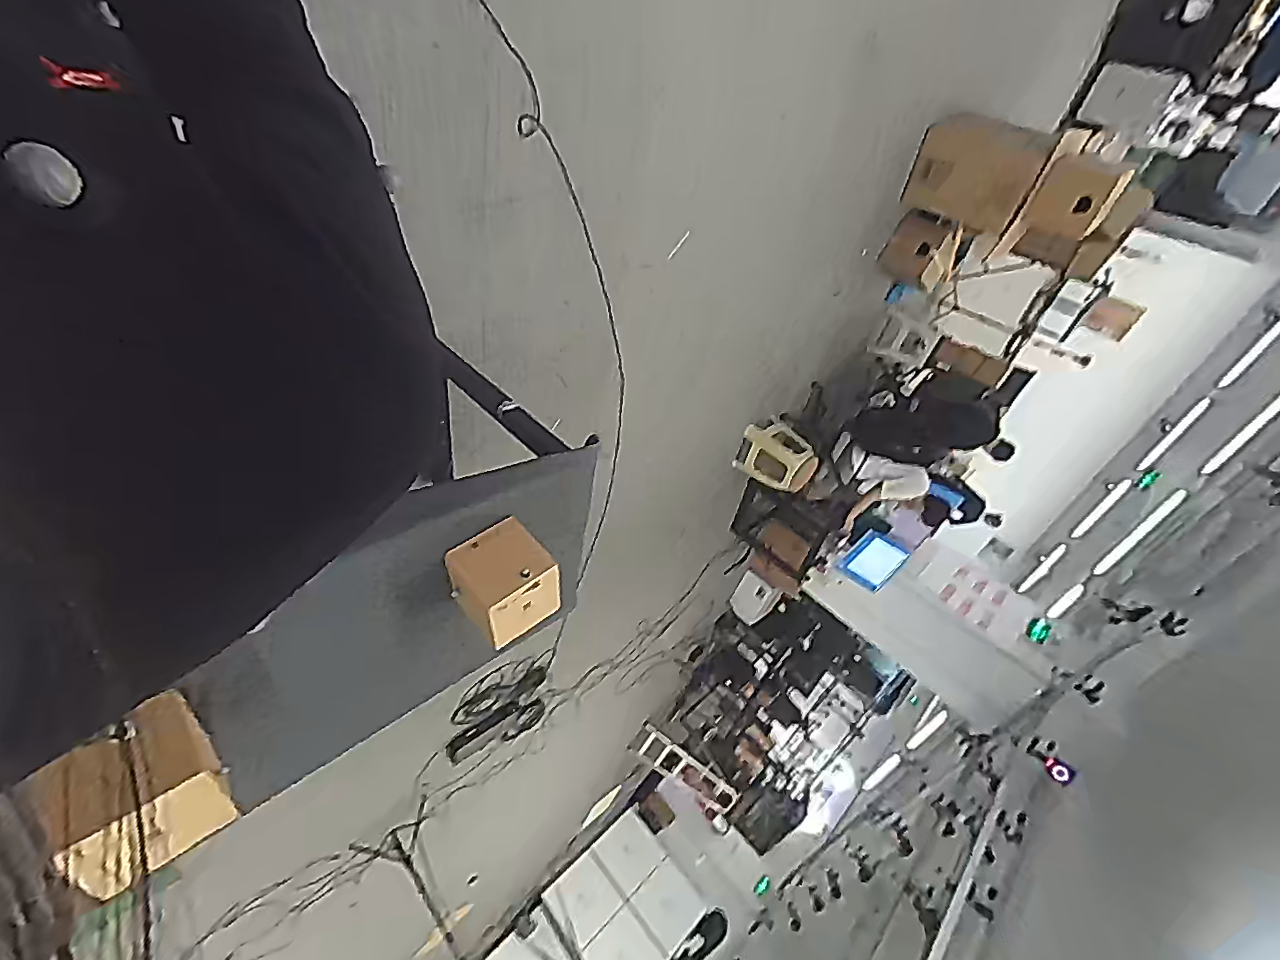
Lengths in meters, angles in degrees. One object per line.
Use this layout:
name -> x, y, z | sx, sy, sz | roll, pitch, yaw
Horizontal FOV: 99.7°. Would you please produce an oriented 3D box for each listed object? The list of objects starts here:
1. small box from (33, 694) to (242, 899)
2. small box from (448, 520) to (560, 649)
small box -> -0.731, 0.456, 0.797 | 0.168, 0.176, 0.179 | -28, 143, -39
small box -> -0.287, 0.219, 1.157 | 0.168, 0.176, 0.179 | -33, 149, -32
